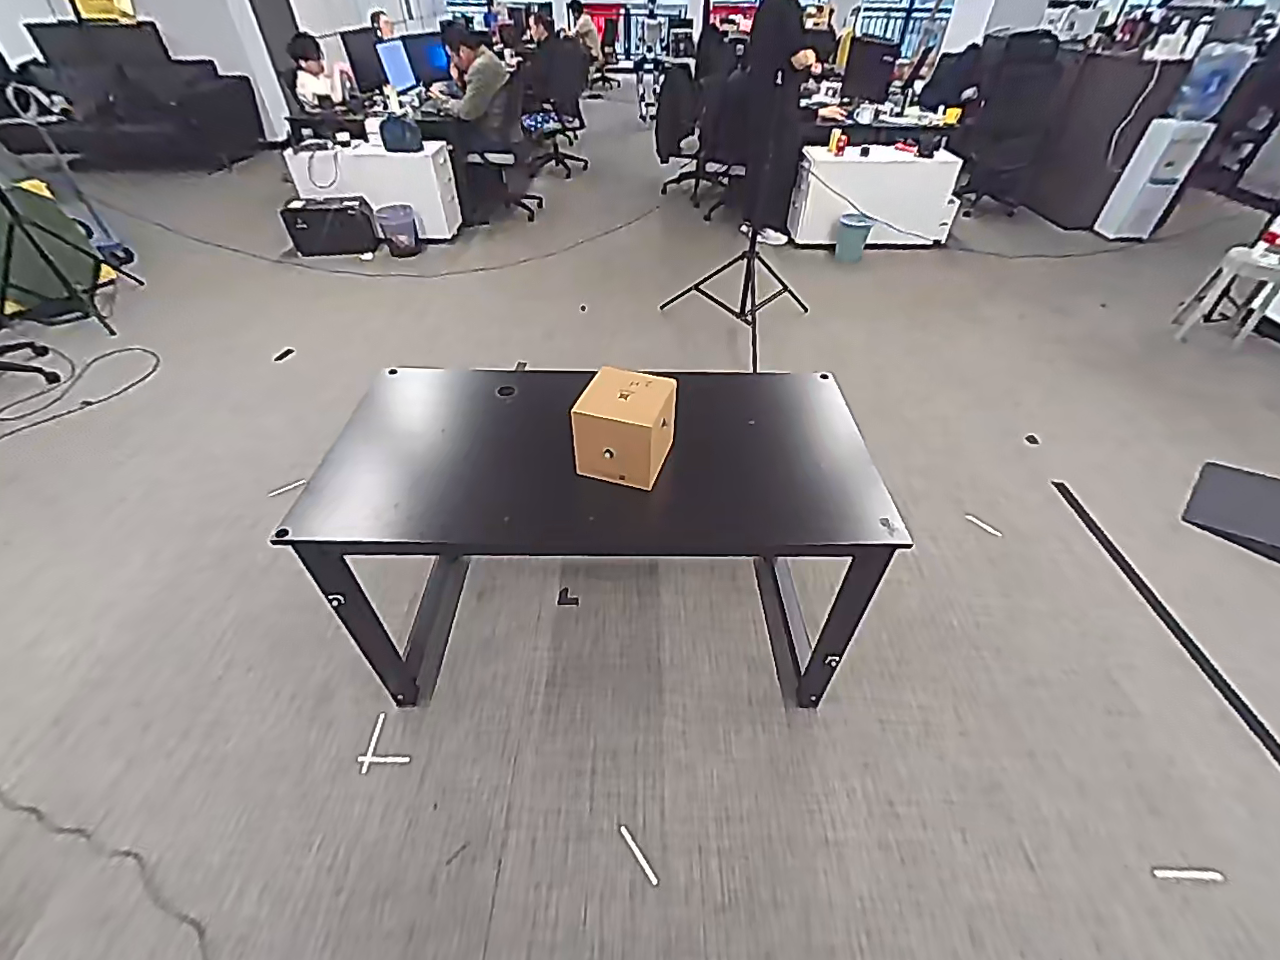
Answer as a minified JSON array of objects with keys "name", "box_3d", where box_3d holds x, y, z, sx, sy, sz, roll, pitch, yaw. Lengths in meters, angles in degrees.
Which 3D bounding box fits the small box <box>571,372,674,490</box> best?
[{"name":"small box","box_3d":[-0.031,-0.103,1.148,0.168,0.176,0.179,13,44,13]}]
